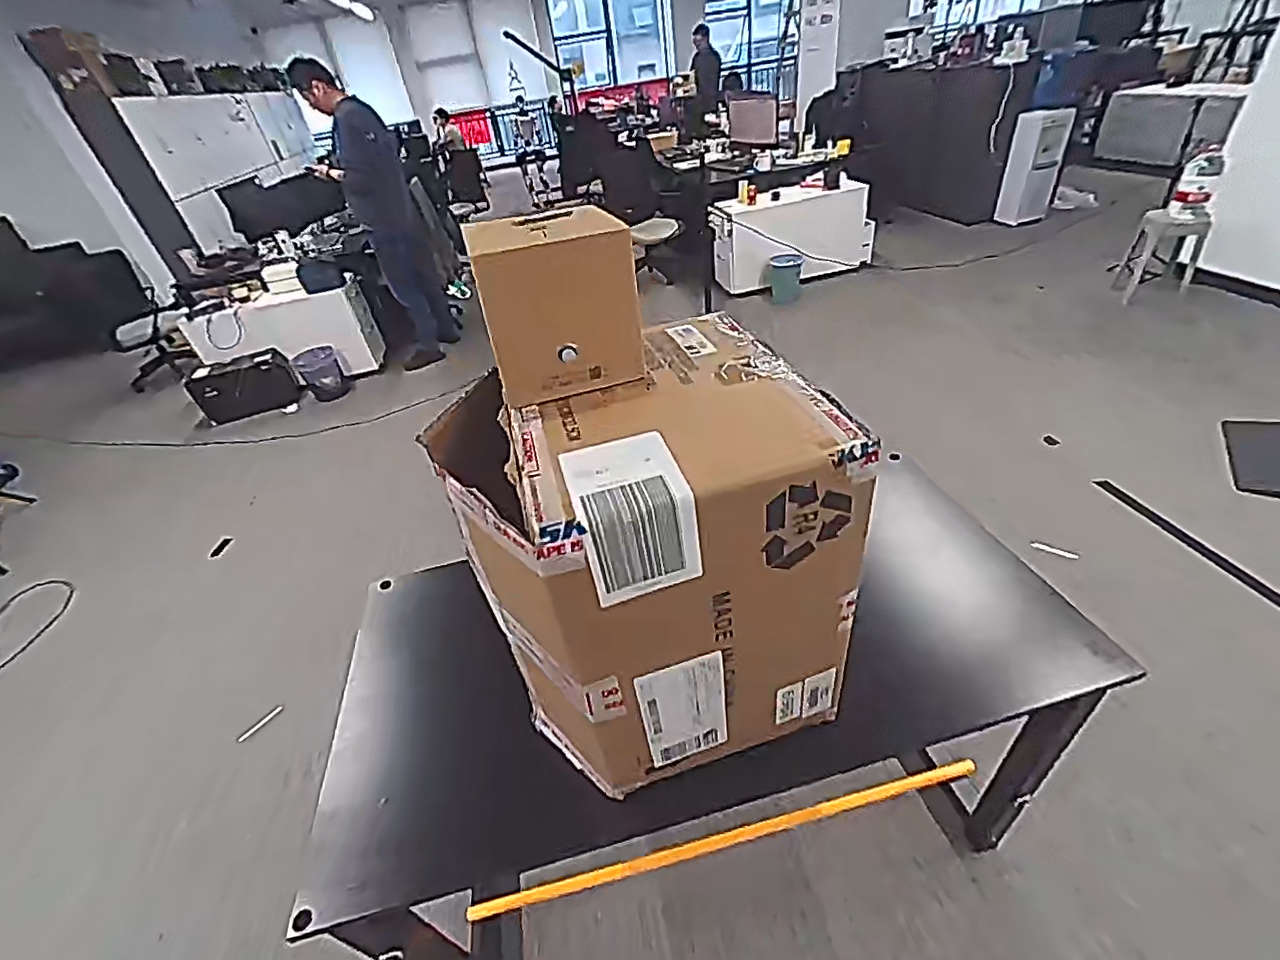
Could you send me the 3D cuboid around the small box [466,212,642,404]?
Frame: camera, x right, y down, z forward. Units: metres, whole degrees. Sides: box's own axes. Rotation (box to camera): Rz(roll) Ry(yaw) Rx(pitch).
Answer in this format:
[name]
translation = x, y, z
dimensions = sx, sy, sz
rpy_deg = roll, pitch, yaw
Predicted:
[small box]
translation = -0.104, -0.211, 0.652
dimensions = 0.168, 0.176, 0.179
rpy_deg = -15, 36, -11
